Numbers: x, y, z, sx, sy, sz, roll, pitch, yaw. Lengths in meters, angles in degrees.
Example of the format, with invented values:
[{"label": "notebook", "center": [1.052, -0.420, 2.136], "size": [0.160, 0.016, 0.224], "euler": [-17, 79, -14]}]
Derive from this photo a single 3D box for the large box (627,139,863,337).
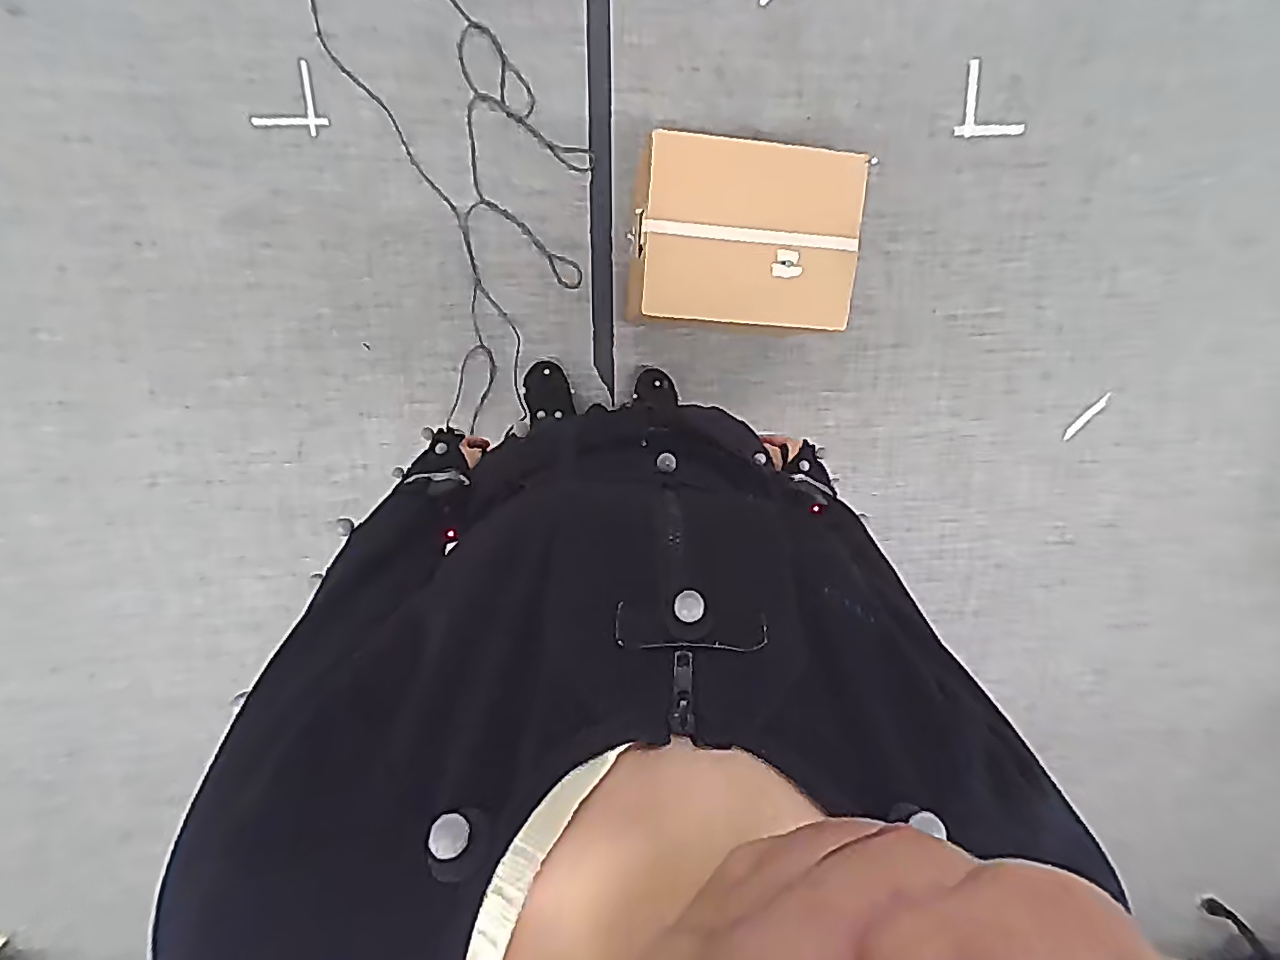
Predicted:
[{"label": "large box", "center": [0.188, -0.474, 1.140], "size": [0.408, 0.320, 0.320], "euler": [2, 103, -8]}]
